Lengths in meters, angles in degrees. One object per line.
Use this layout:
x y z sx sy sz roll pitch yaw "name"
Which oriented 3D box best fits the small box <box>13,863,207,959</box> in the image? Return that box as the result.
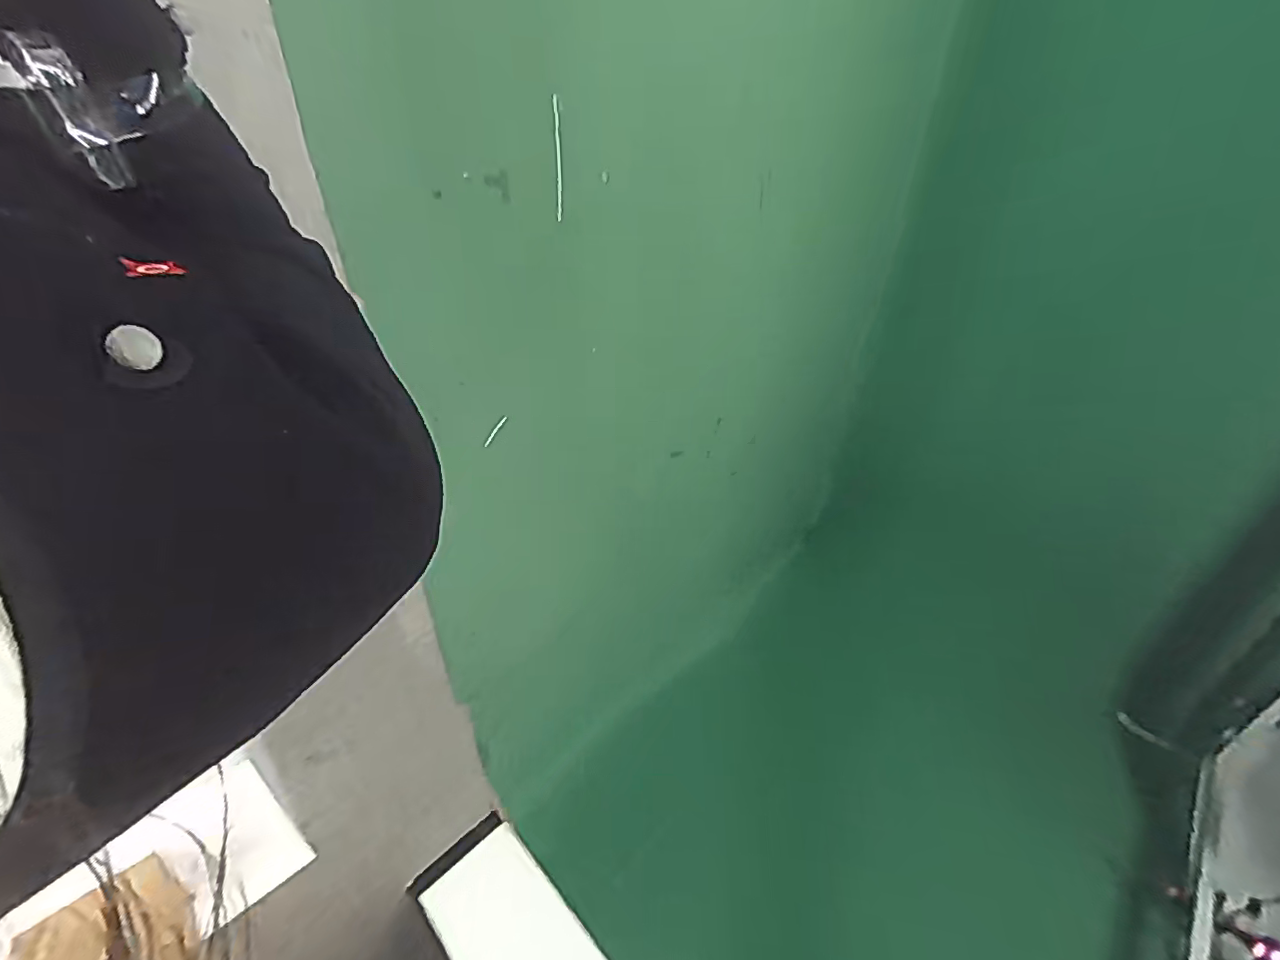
-0.820 0.760 0.847 0.179 0.176 0.168 -25 132 -37 "small box"
